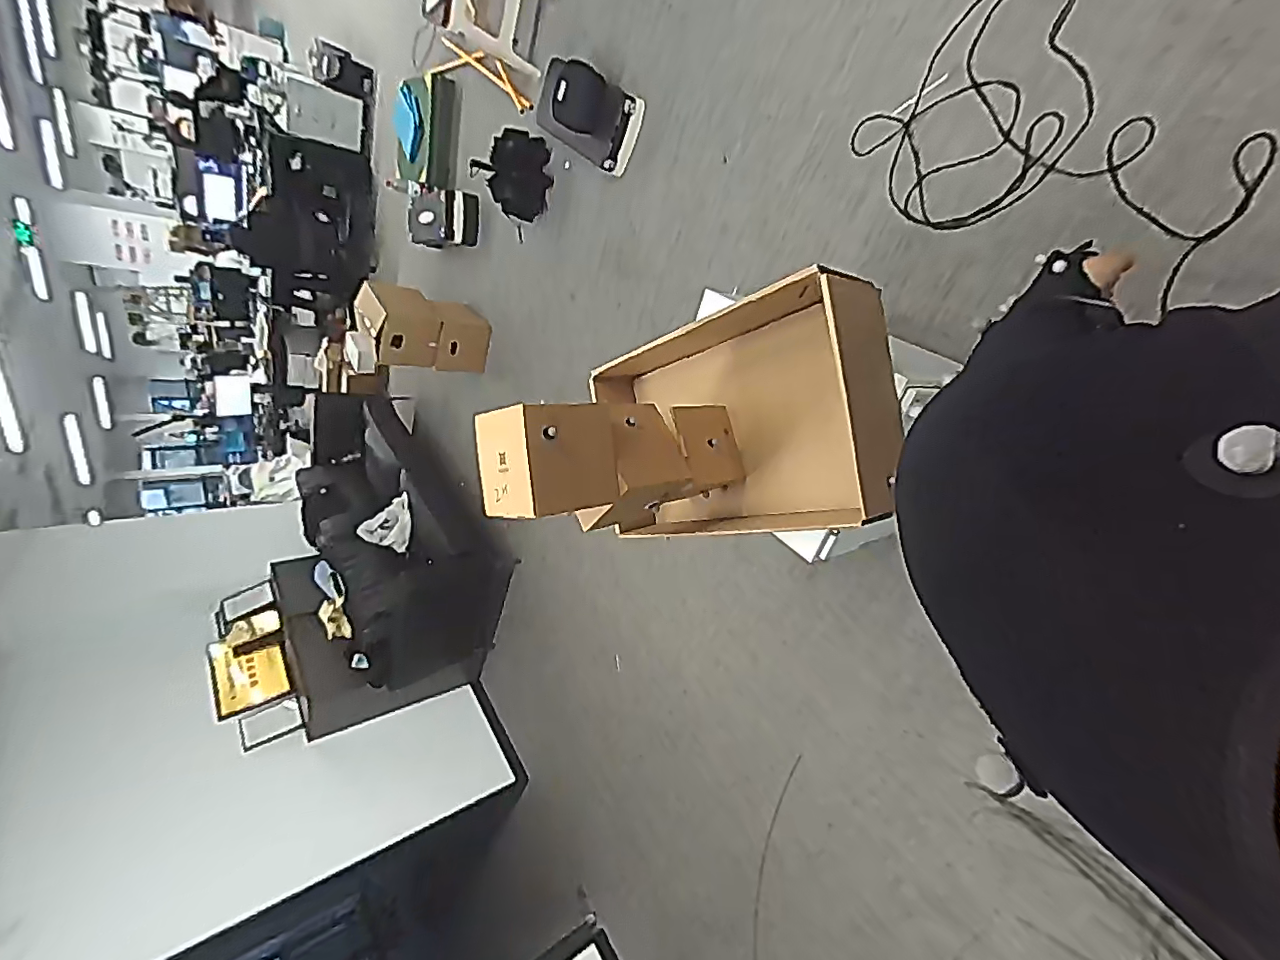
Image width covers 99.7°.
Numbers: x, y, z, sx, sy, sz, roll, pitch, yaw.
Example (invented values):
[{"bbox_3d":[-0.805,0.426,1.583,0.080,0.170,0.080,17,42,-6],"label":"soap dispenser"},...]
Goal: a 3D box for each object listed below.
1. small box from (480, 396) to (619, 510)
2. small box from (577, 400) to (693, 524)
[{"bbox_3d":[-0.153,-0.048,0.929,0.168,0.176,0.179,-1,96,49],"label":"small box"},{"bbox_3d":[-0.032,-0.039,1.044,0.168,0.176,0.179,-45,65,43],"label":"small box"}]
